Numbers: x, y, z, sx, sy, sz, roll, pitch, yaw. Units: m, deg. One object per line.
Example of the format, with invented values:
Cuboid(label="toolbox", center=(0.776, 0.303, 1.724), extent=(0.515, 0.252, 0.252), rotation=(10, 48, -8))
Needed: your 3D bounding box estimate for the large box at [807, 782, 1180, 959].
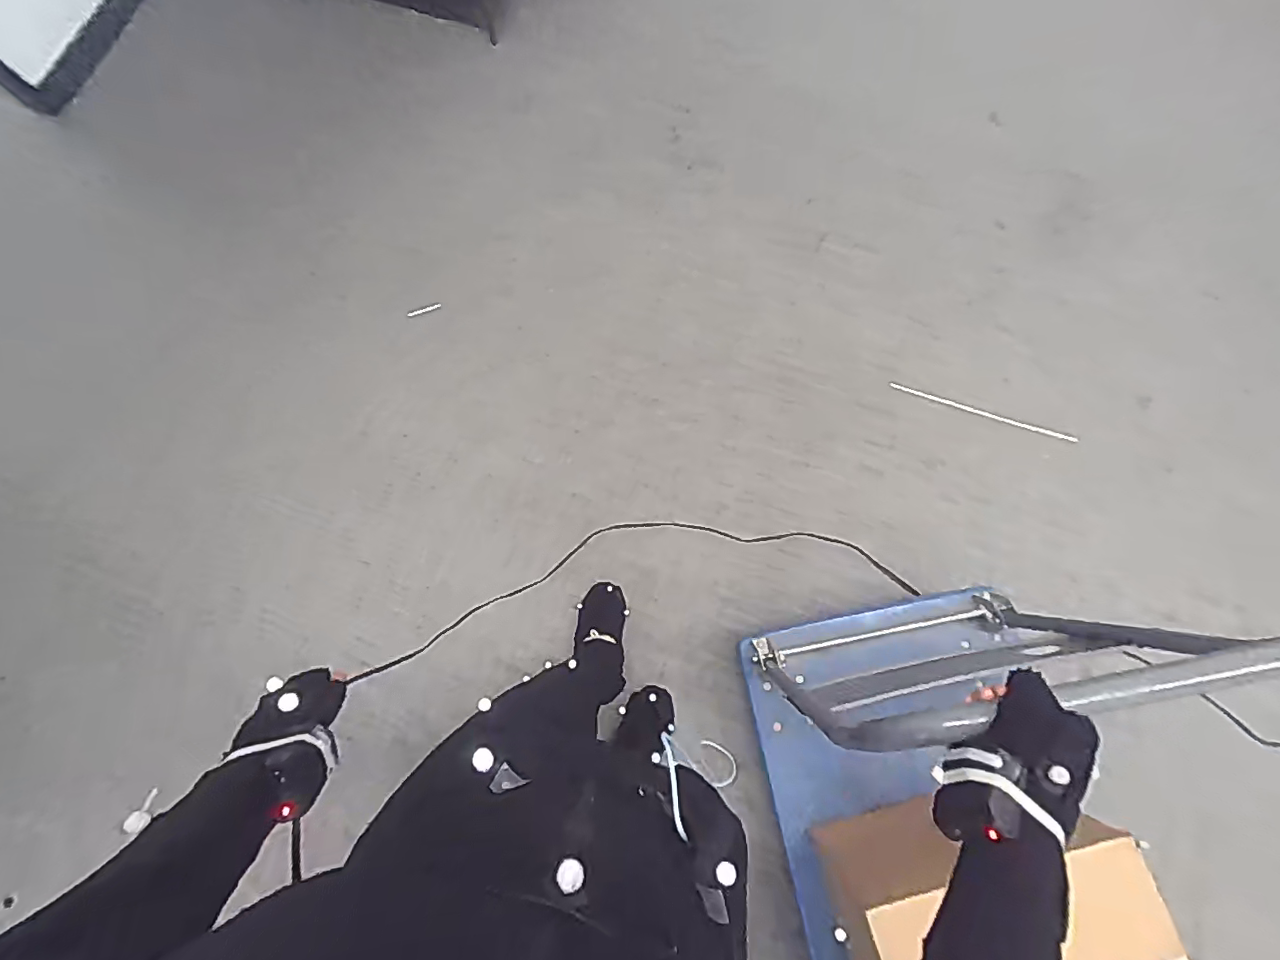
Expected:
Cuboid(label="large box", center=(0.544, 0.741, 0.869), extent=(0.408, 0.320, 0.320), rotation=(-15, 76, -3))
